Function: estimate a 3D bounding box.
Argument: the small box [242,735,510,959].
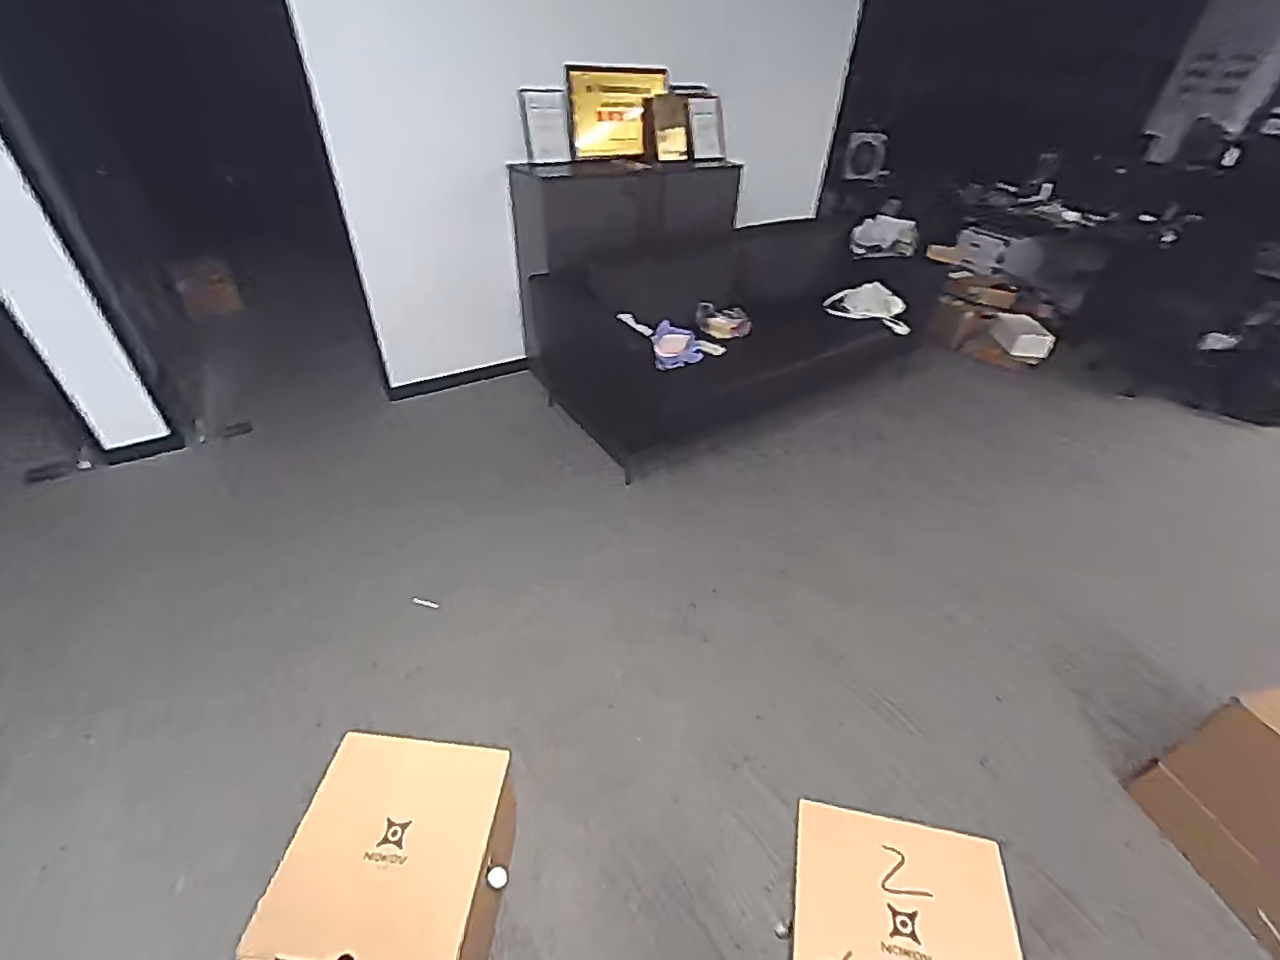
[{"bbox_3d":[-0.227,0.381,0.525,0.168,0.176,0.179,7,39,-1],"label":"small box"}]
